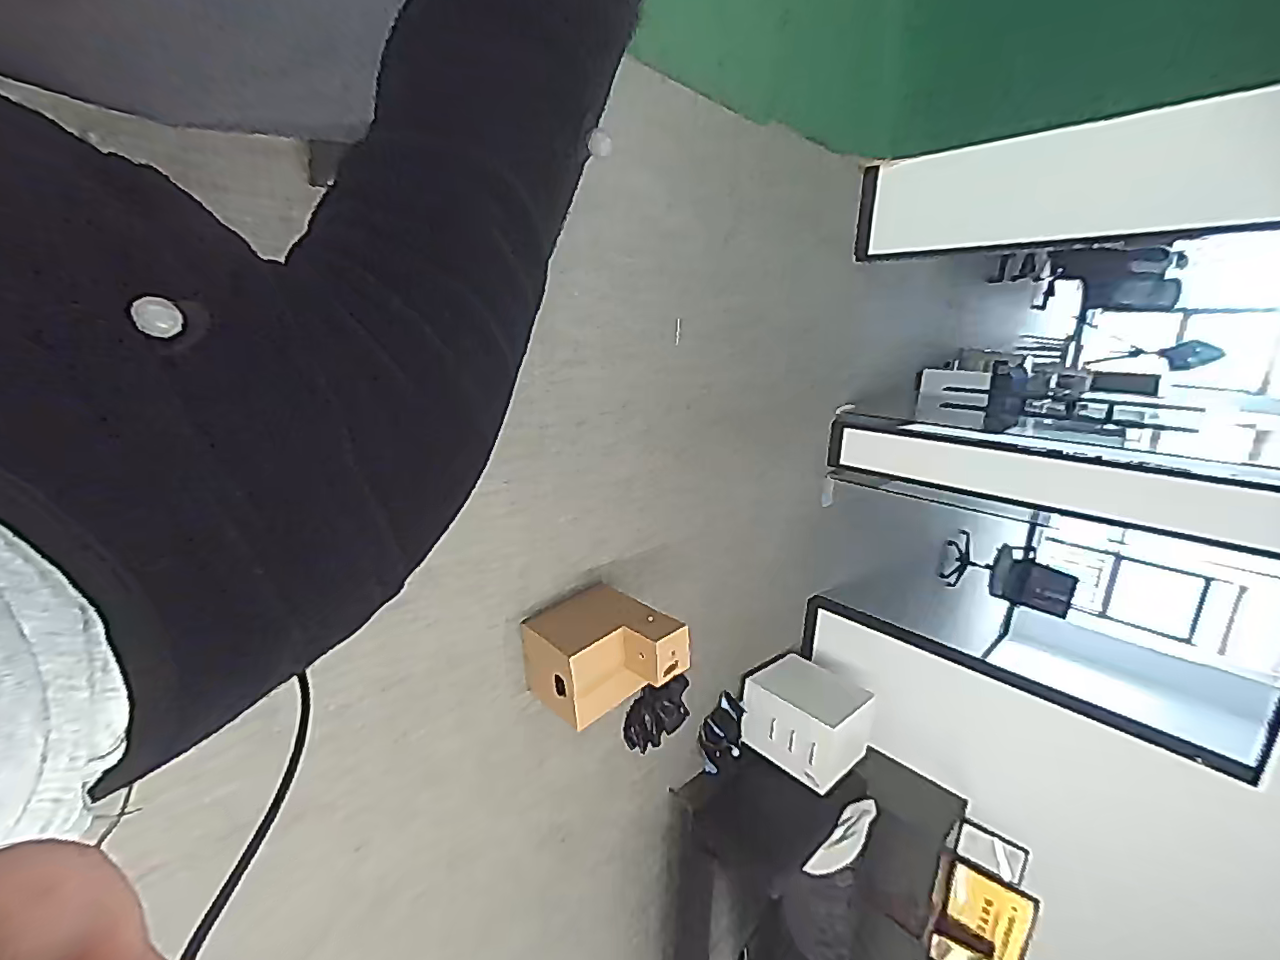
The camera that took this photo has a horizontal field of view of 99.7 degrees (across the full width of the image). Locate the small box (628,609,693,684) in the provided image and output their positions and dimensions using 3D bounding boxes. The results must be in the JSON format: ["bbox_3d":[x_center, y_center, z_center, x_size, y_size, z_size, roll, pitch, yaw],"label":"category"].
[{"bbox_3d":[0.073,0.591,1.945,0.168,0.176,0.179,-17,109,-42],"label":"small box"}]
